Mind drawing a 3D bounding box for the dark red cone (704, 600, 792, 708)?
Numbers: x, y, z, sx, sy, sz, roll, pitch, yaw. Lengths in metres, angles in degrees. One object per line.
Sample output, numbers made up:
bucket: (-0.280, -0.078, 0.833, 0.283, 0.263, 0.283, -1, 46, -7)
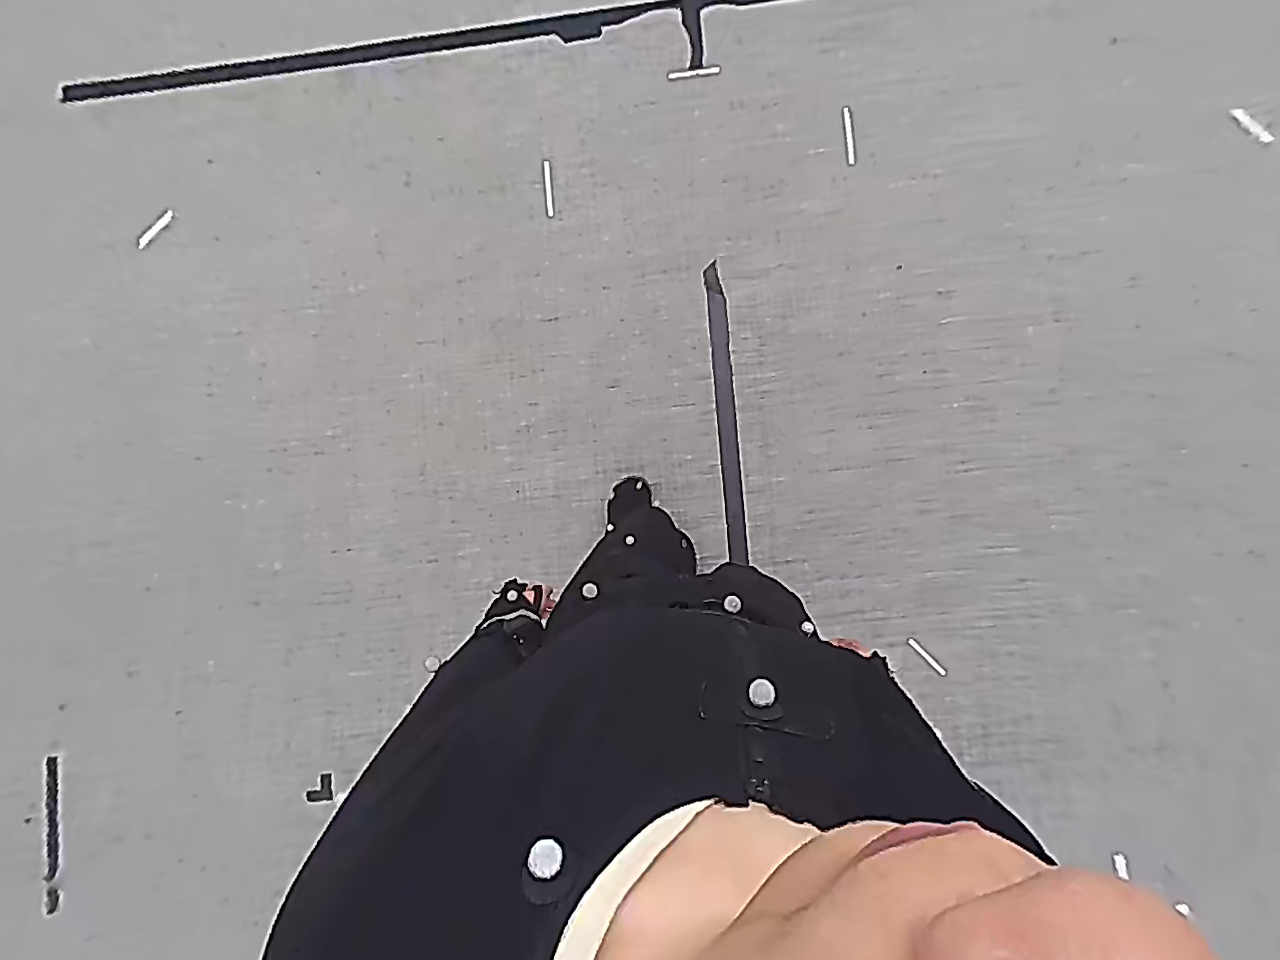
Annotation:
dark red cone: (0.257, 0.394, 1.168, 0.201, 0.394, 0.202, -6, 88, 3)
